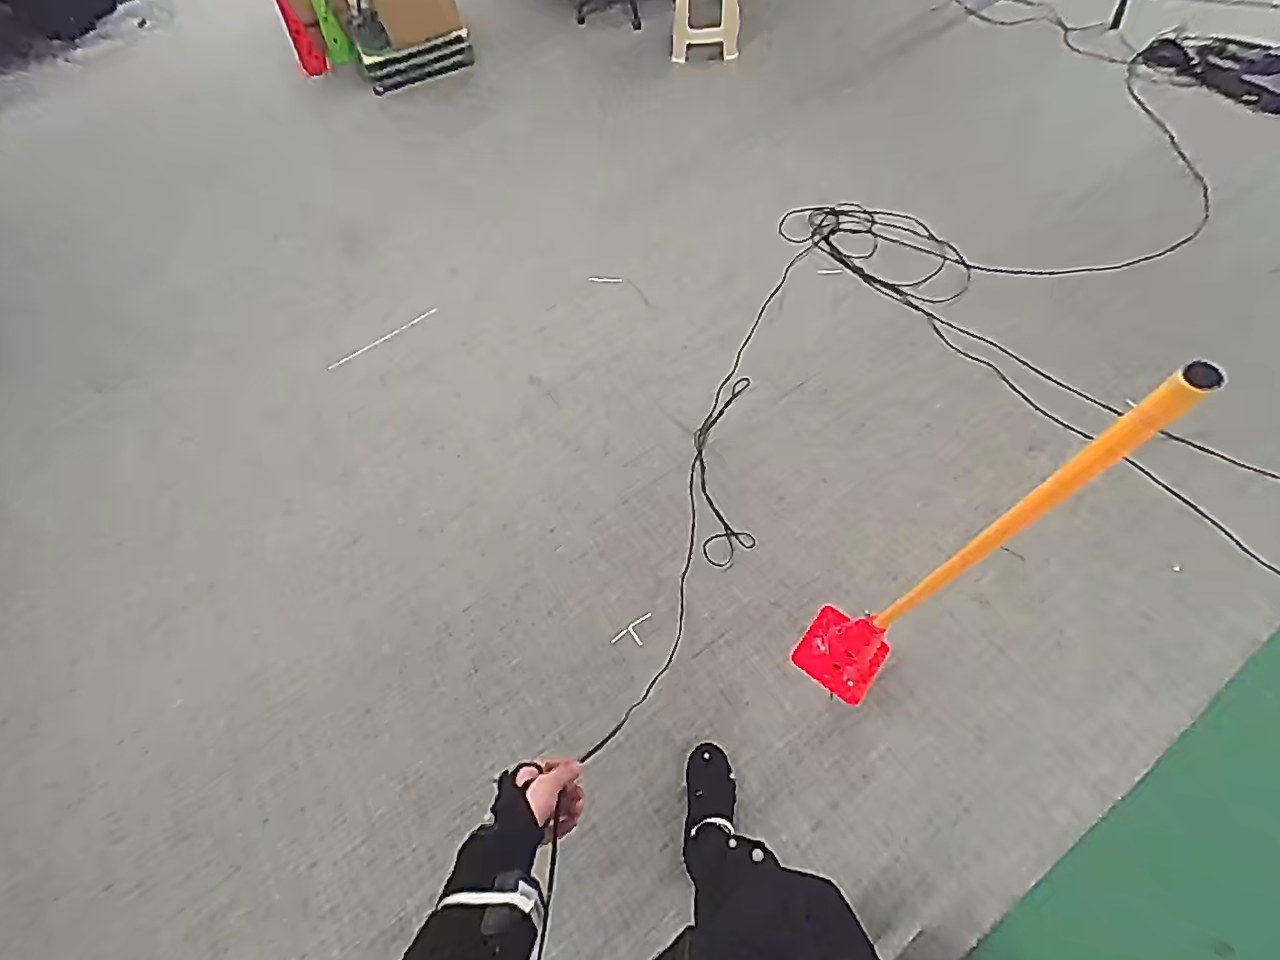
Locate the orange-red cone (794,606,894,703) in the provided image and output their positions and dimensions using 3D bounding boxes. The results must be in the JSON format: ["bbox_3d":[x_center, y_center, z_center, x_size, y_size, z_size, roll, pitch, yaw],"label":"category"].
[{"bbox_3d":[0.525,0.380,1.289,0.198,0.360,0.199,36,70,20],"label":"orange-red cone"}]
